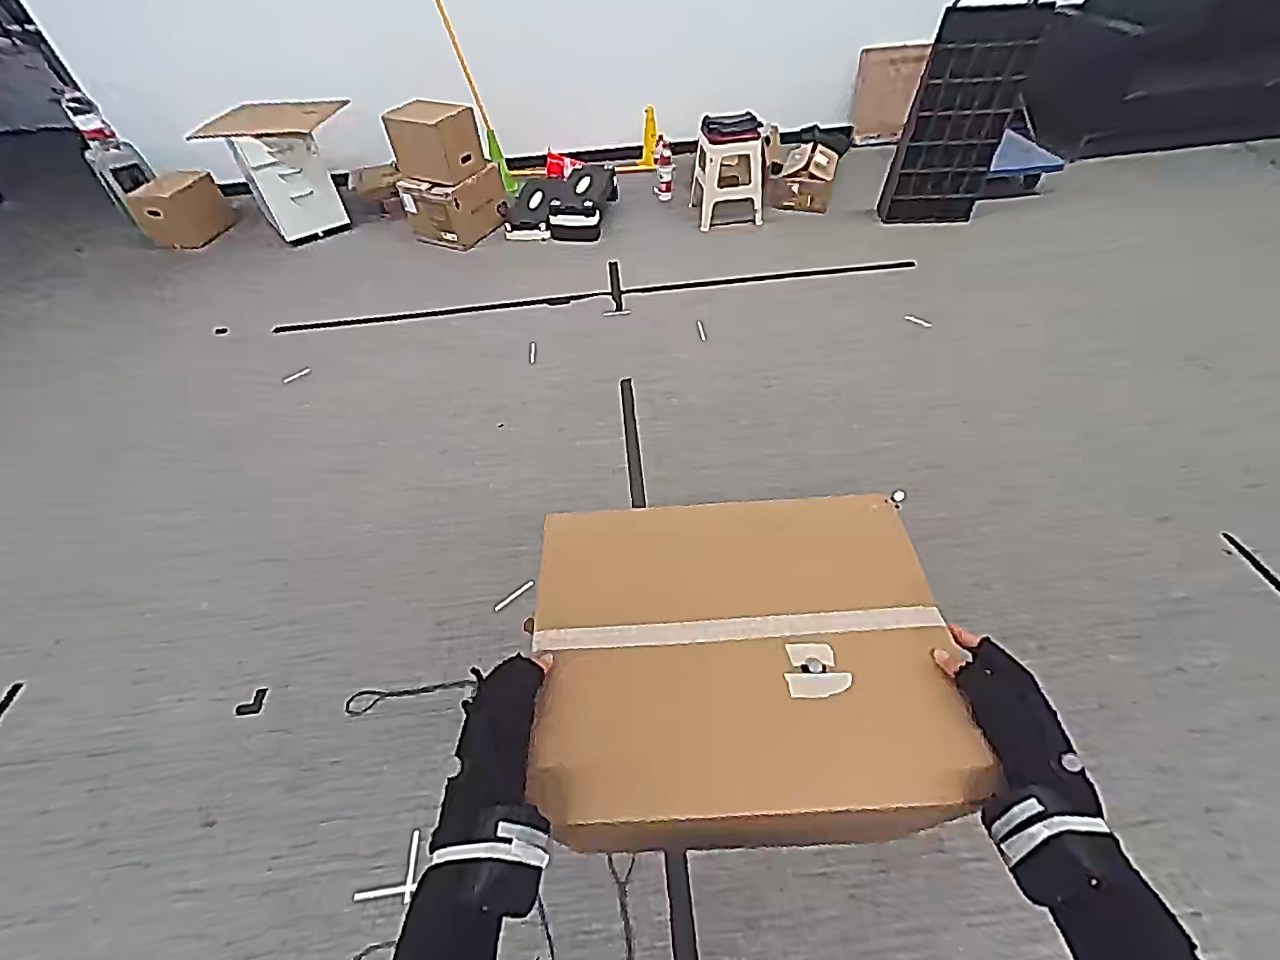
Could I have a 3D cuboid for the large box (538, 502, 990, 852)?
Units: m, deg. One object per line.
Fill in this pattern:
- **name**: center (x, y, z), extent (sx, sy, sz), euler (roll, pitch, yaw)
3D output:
- **large box**: center (0.106, 0.252, 0.673), extent (0.408, 0.320, 0.320), euler (-4, 52, 1)
